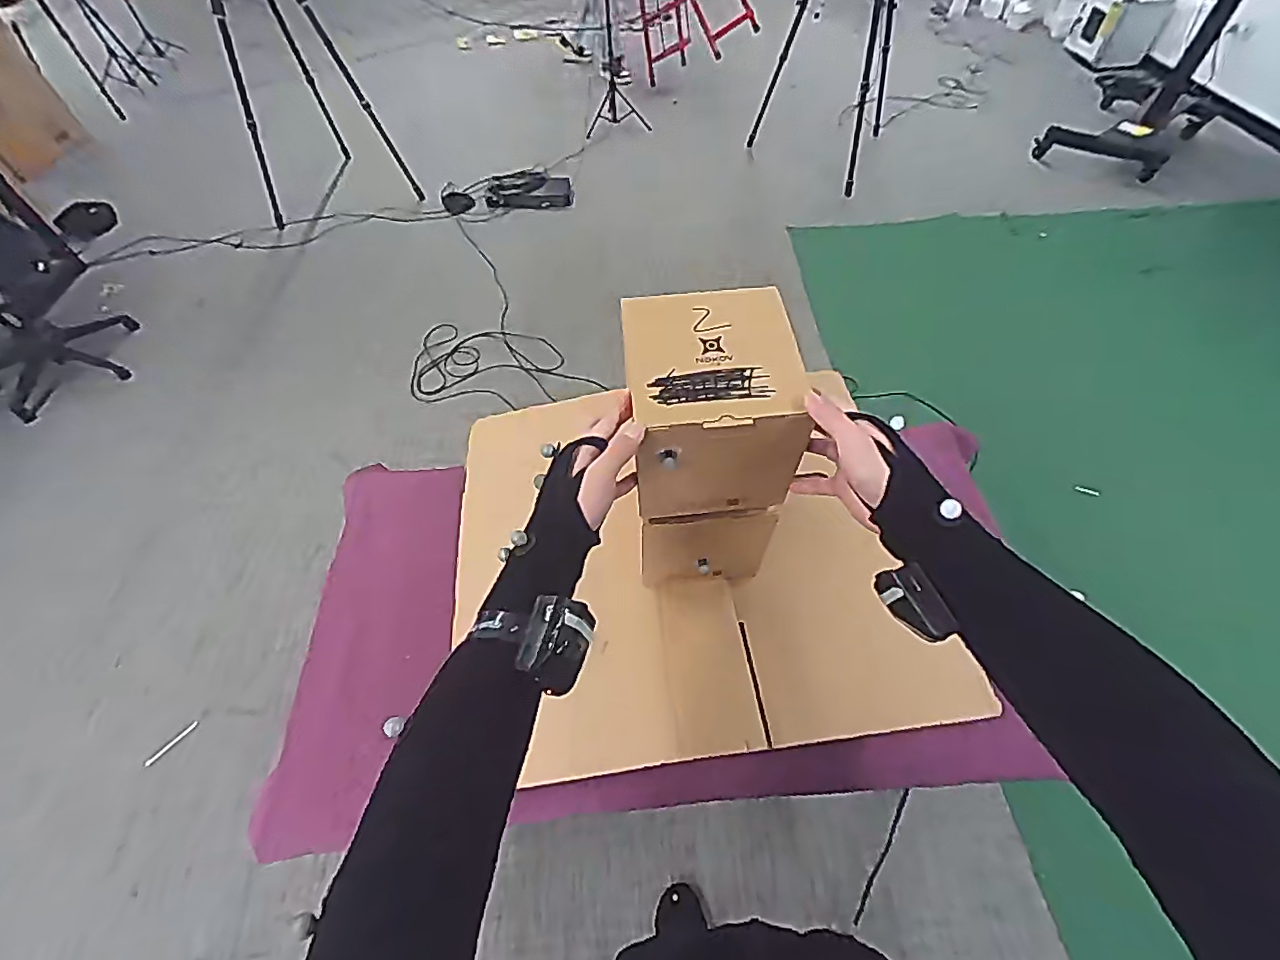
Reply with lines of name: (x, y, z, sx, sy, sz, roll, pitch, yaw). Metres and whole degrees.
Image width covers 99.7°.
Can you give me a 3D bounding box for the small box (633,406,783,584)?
small box: (0.077, 0.022, 0.733, 0.168, 0.176, 0.179, -5, 55, -3)
